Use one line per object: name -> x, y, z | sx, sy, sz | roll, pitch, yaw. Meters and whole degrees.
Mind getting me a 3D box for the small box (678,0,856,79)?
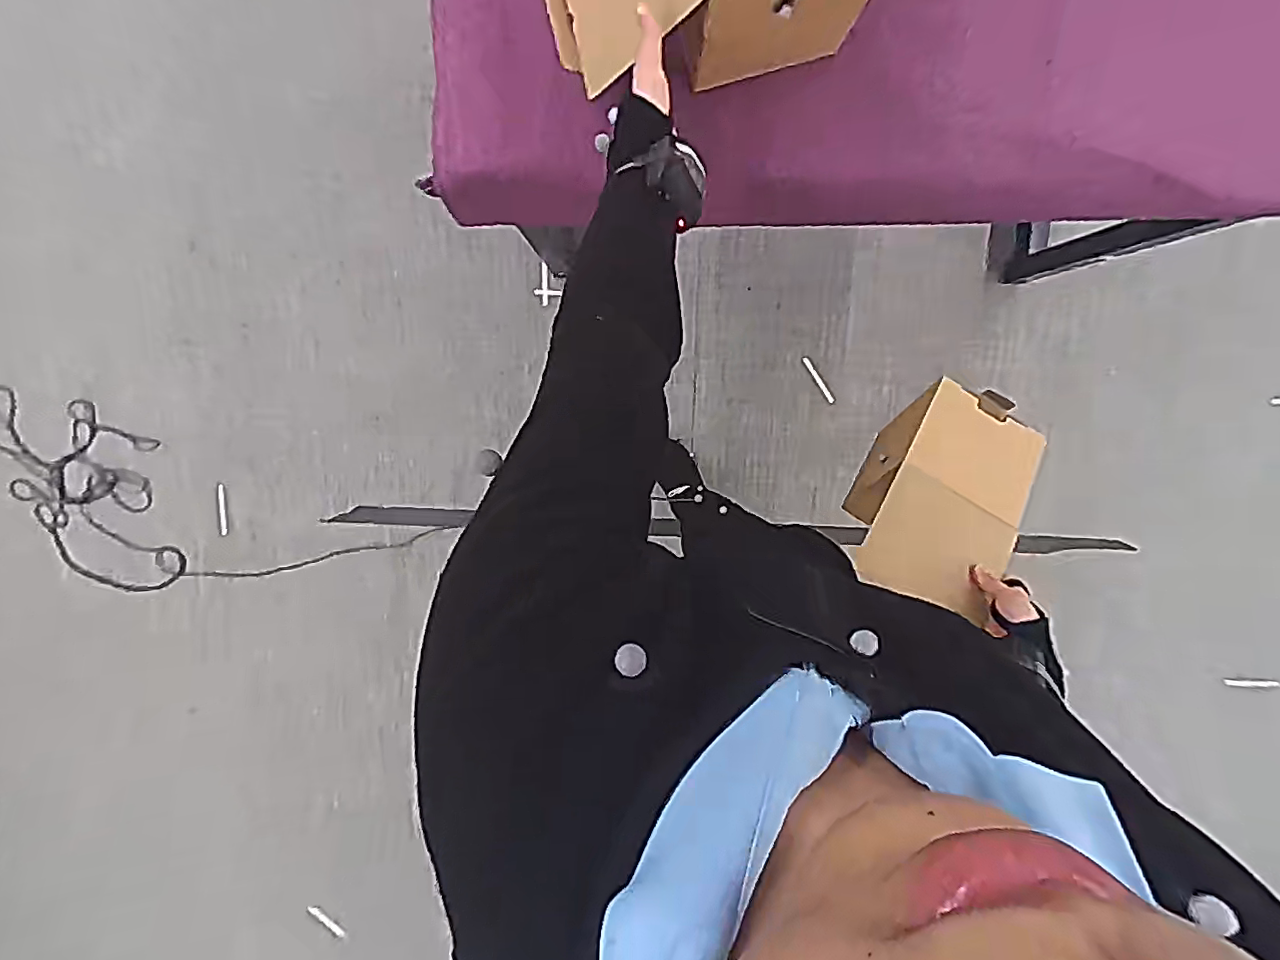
small box -> 0.124, -0.539, 0.531 | 0.179, 0.176, 0.168 | -14, 100, 2
